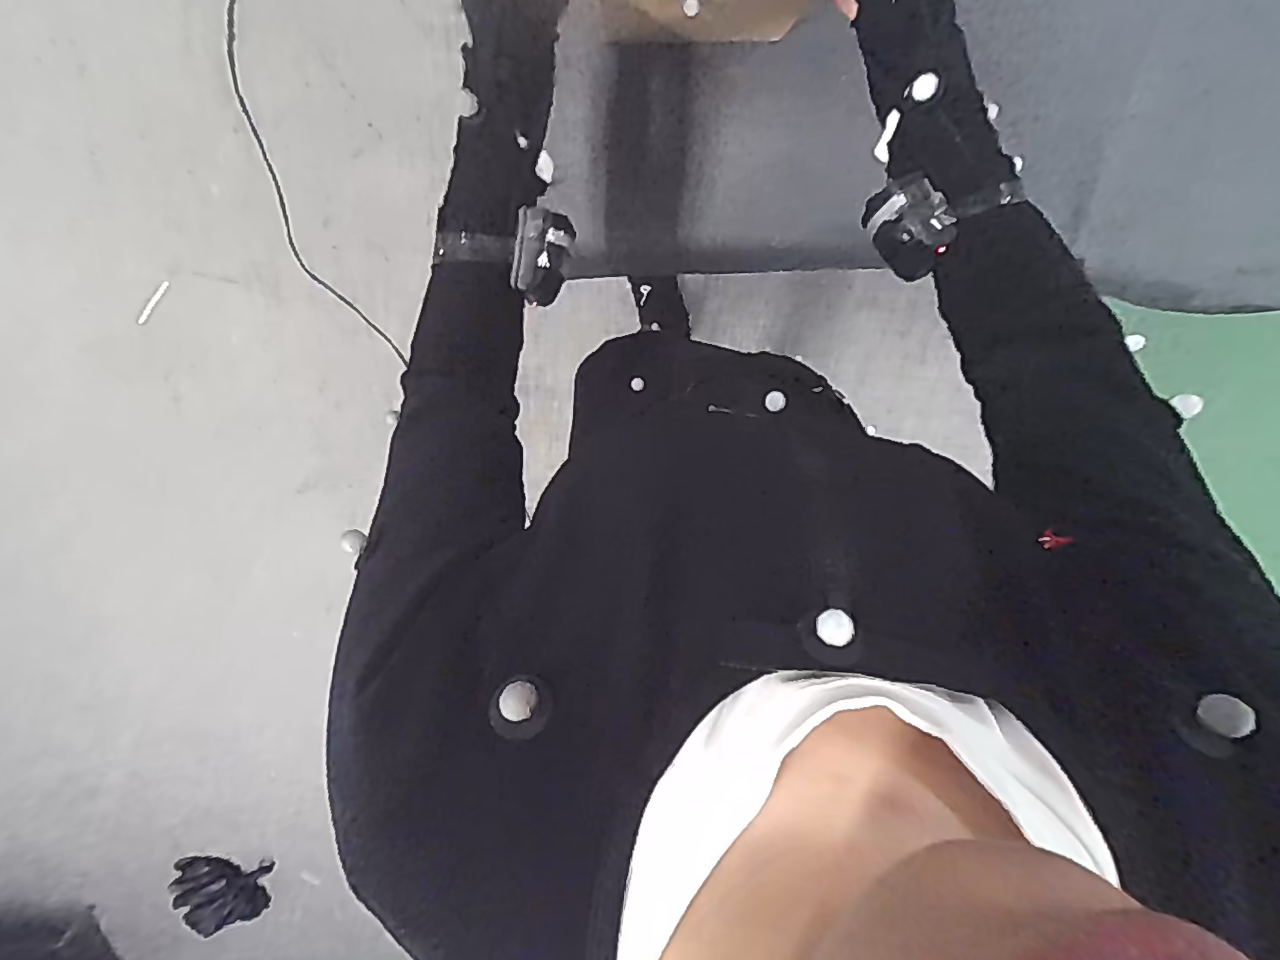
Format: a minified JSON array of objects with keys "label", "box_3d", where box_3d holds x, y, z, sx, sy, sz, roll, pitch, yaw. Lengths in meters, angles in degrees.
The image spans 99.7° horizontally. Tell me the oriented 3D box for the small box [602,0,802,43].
[{"label":"small box","box_3d":[0.053,-0.465,0.421,0.179,0.176,0.168,-1,116,-1]}]
